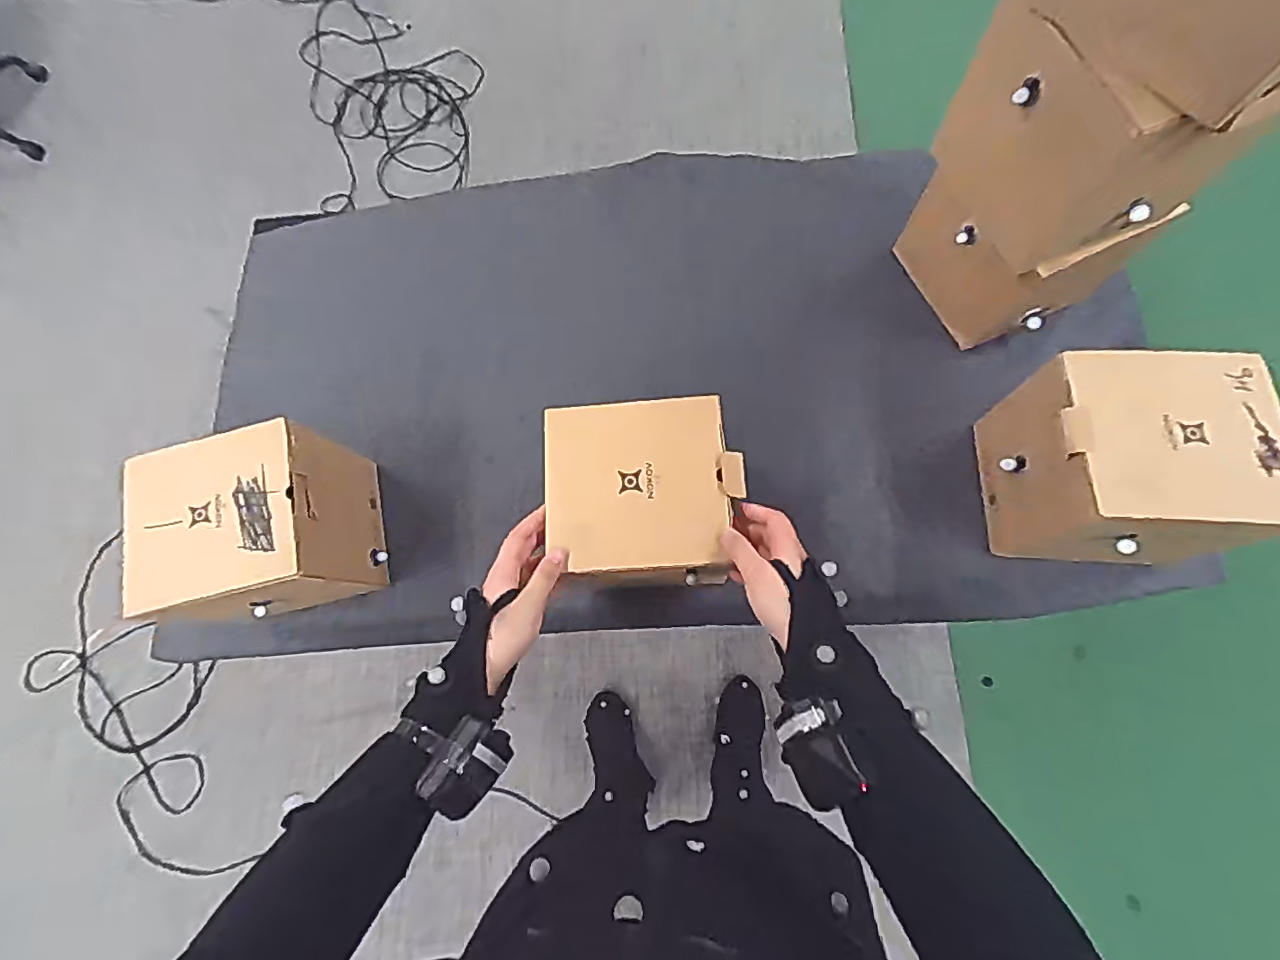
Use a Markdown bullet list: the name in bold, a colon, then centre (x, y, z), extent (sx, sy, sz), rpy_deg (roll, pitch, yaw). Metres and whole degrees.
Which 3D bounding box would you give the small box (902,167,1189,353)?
- **small box**: centre (0.443, -0.282, 0.631), extent (0.168, 0.176, 0.179), rpy_deg (-25, 76, 1)

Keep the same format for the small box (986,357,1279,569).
- **small box**: centre (0.481, -0.008, 0.548), extent (0.179, 0.176, 0.168), rpy_deg (2, 71, 6)

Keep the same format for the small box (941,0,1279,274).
- **small box**: centre (0.405, -0.322, 0.474), extent (0.168, 0.176, 0.179), rpy_deg (-21, 74, 2)

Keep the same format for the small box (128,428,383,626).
- **small box**: centre (-0.411, 0.061, 0.607), extent (0.179, 0.176, 0.168), rpy_deg (-14, 75, 1)

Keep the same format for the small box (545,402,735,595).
- **small box**: centre (0.004, 0.031, 0.585), extent (0.179, 0.176, 0.168), rpy_deg (-5, 73, 4)
